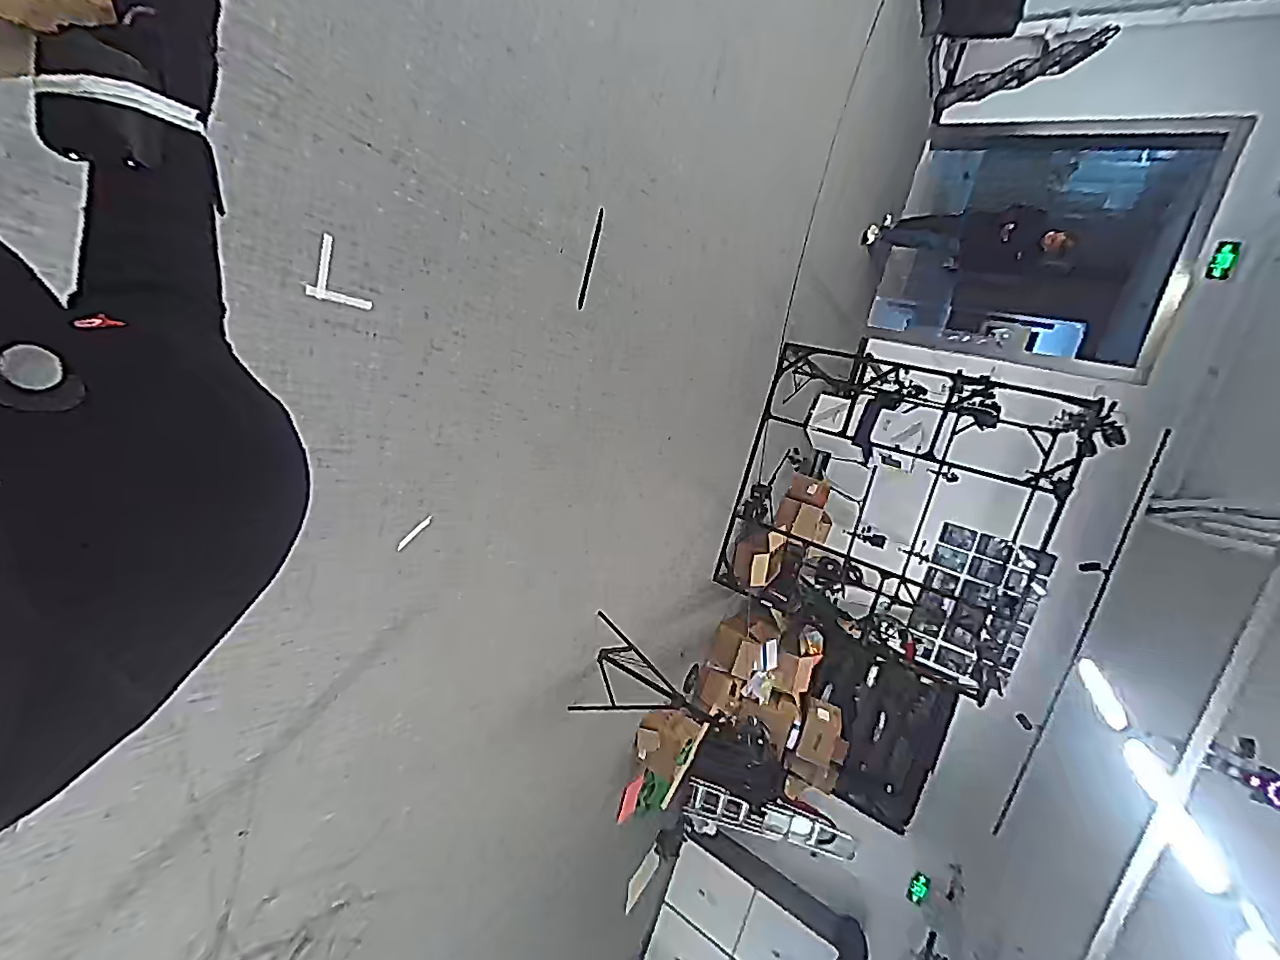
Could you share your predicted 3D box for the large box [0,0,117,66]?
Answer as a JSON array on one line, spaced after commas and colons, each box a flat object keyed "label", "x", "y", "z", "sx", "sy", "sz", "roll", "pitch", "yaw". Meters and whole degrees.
[{"label": "large box", "x": -0.540, "y": -0.440, "z": 0.215, "sx": 0.408, "sy": 0.320, "sz": 0.320, "roll": -13, "pitch": 120, "yaw": -59}]
